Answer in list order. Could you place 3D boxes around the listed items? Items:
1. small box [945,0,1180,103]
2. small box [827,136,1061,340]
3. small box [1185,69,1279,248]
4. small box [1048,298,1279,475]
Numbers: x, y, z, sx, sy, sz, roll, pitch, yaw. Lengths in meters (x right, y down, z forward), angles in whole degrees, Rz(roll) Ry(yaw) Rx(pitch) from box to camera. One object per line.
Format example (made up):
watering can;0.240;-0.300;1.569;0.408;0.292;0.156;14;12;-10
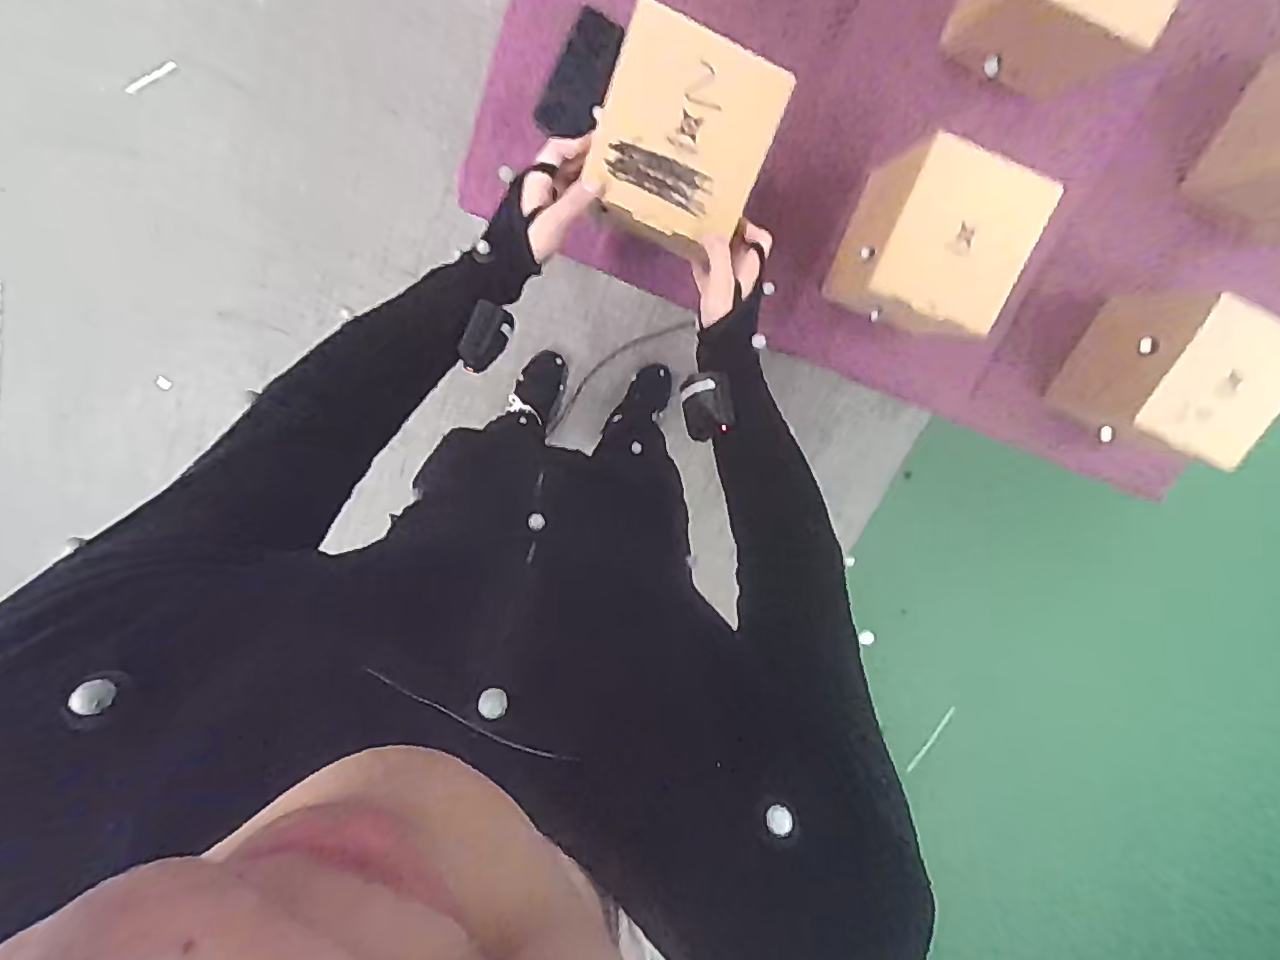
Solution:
small box;0.492;-0.578;0.614;0.168;0.176;0.179;20;107;-6
small box;0.371;-0.298;0.701;0.168;0.176;0.179;19;106;-8
small box;0.864;-0.414;0.673;0.168;0.176;0.179;24;106;-8
small box;0.734;-0.136;0.756;0.168;0.176;0.179;24;106;-7
